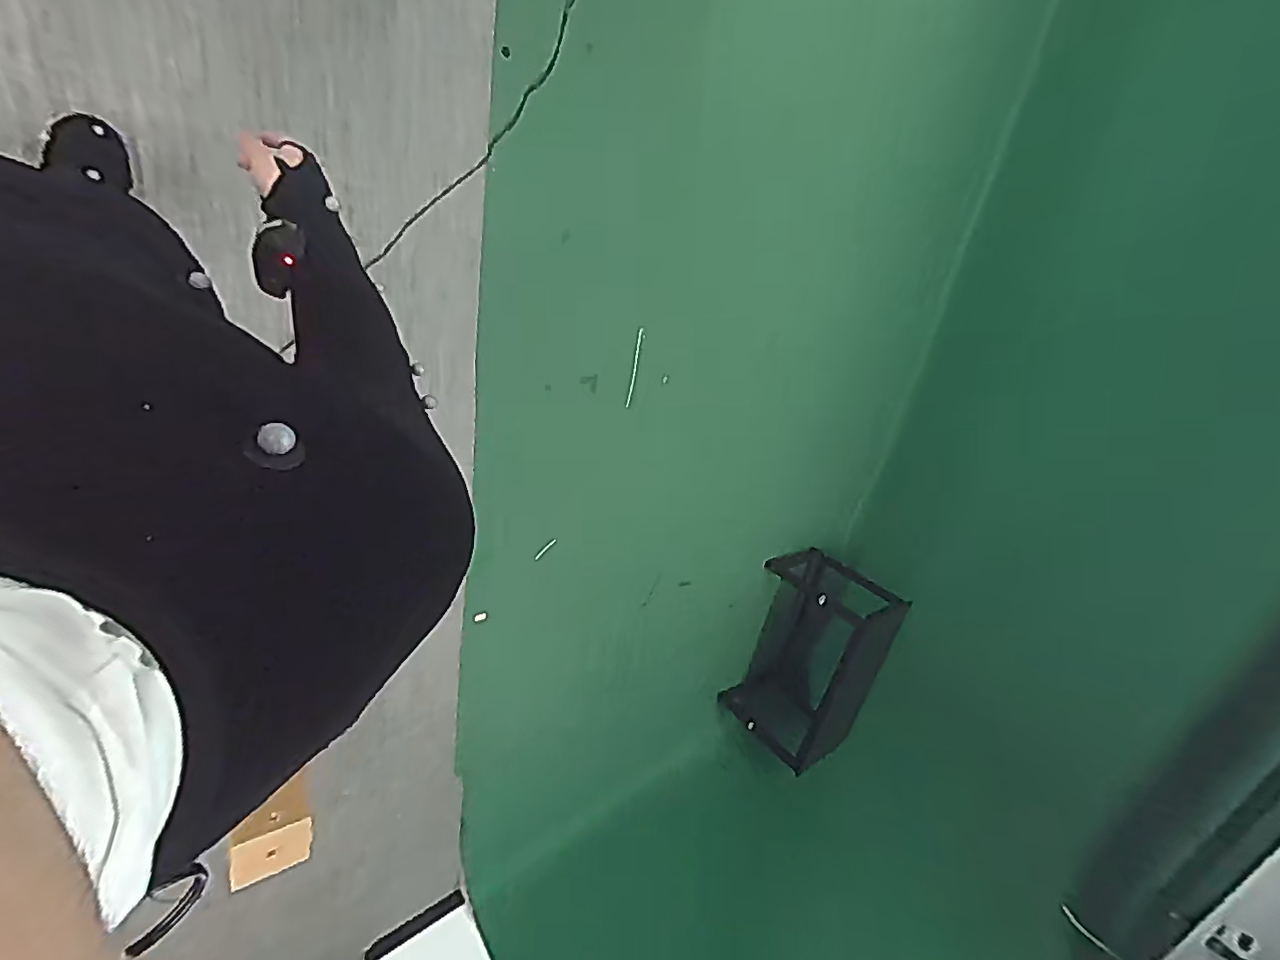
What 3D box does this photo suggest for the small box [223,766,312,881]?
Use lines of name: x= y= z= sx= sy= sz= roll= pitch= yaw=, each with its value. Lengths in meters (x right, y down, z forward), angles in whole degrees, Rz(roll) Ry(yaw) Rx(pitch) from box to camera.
small box: x=-1.011 y=0.916 z=1.463 sx=0.179 sy=0.176 sz=0.168 roll=-1 pitch=115 yaw=-41
